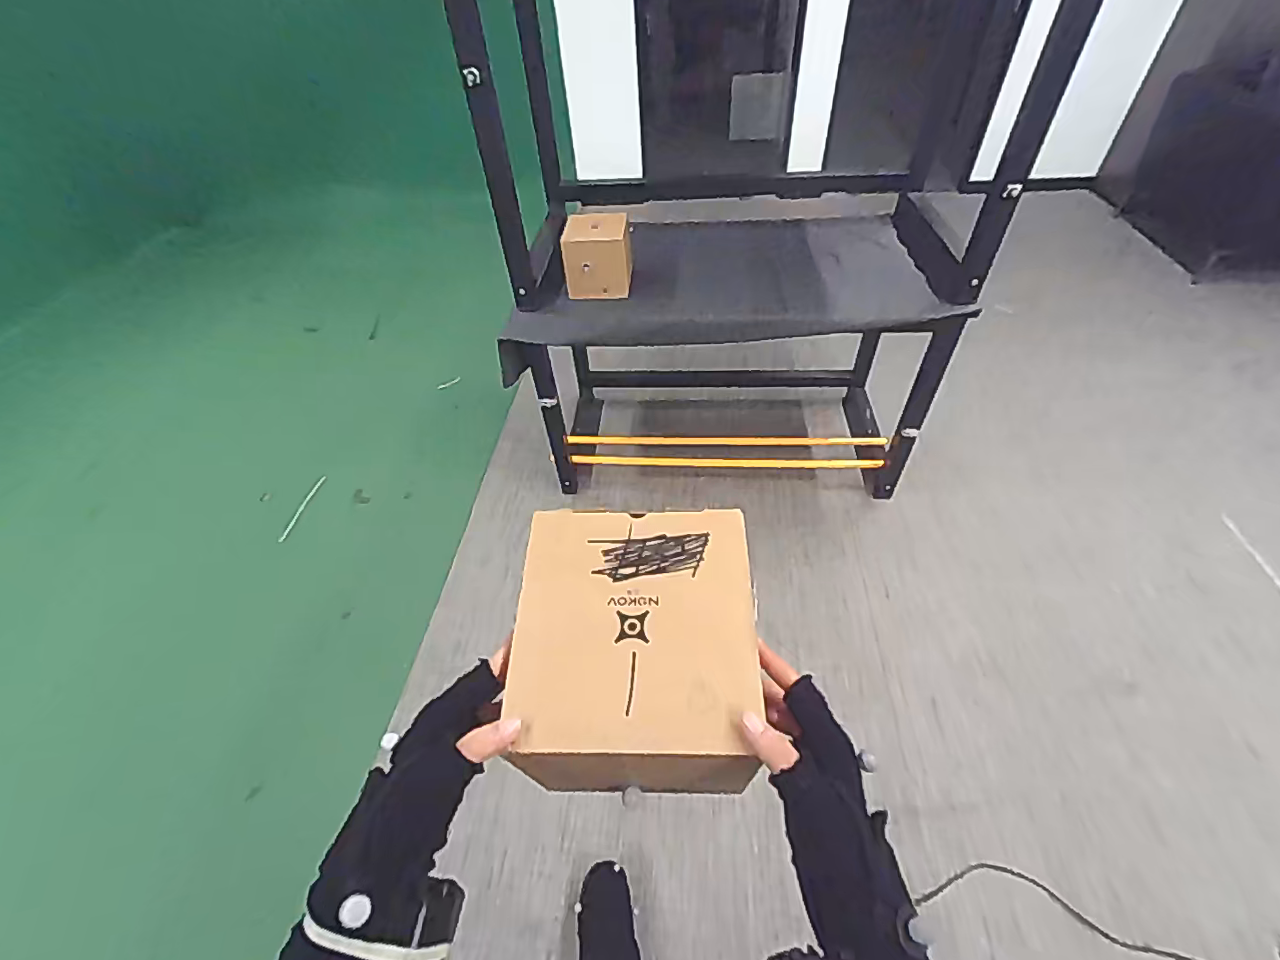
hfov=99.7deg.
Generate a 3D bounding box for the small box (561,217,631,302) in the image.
[{"bbox_3d":[-0.114,-0.607,1.500,0.168,0.176,0.179,0,46,4],"label":"small box"}]
